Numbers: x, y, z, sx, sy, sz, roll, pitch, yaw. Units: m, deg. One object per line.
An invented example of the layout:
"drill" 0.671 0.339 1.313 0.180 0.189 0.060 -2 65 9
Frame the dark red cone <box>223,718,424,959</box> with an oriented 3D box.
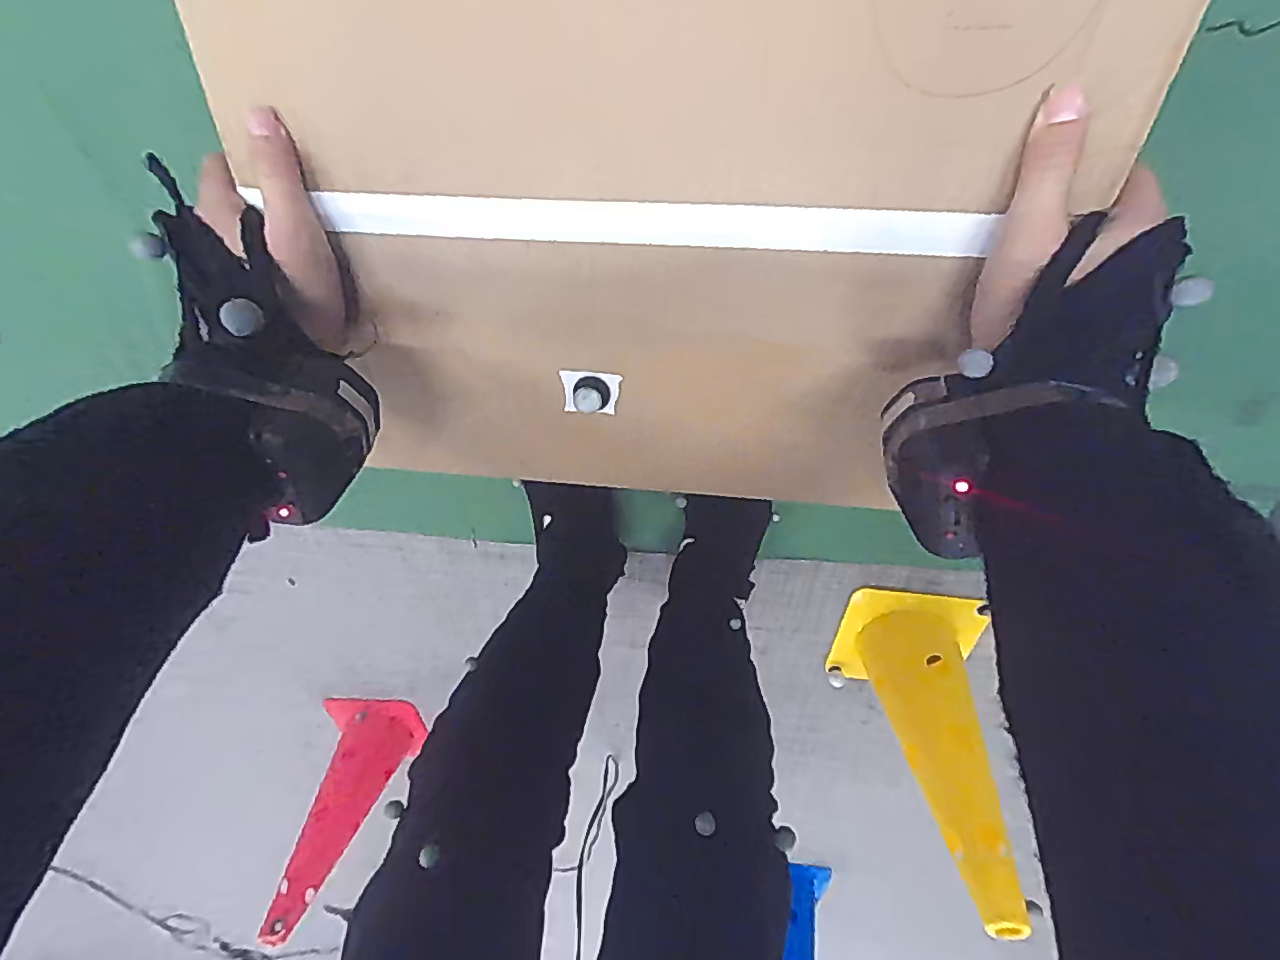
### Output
"dark red cone" -0.567 0.624 0.947 0.202 0.394 0.201 -3 119 10
